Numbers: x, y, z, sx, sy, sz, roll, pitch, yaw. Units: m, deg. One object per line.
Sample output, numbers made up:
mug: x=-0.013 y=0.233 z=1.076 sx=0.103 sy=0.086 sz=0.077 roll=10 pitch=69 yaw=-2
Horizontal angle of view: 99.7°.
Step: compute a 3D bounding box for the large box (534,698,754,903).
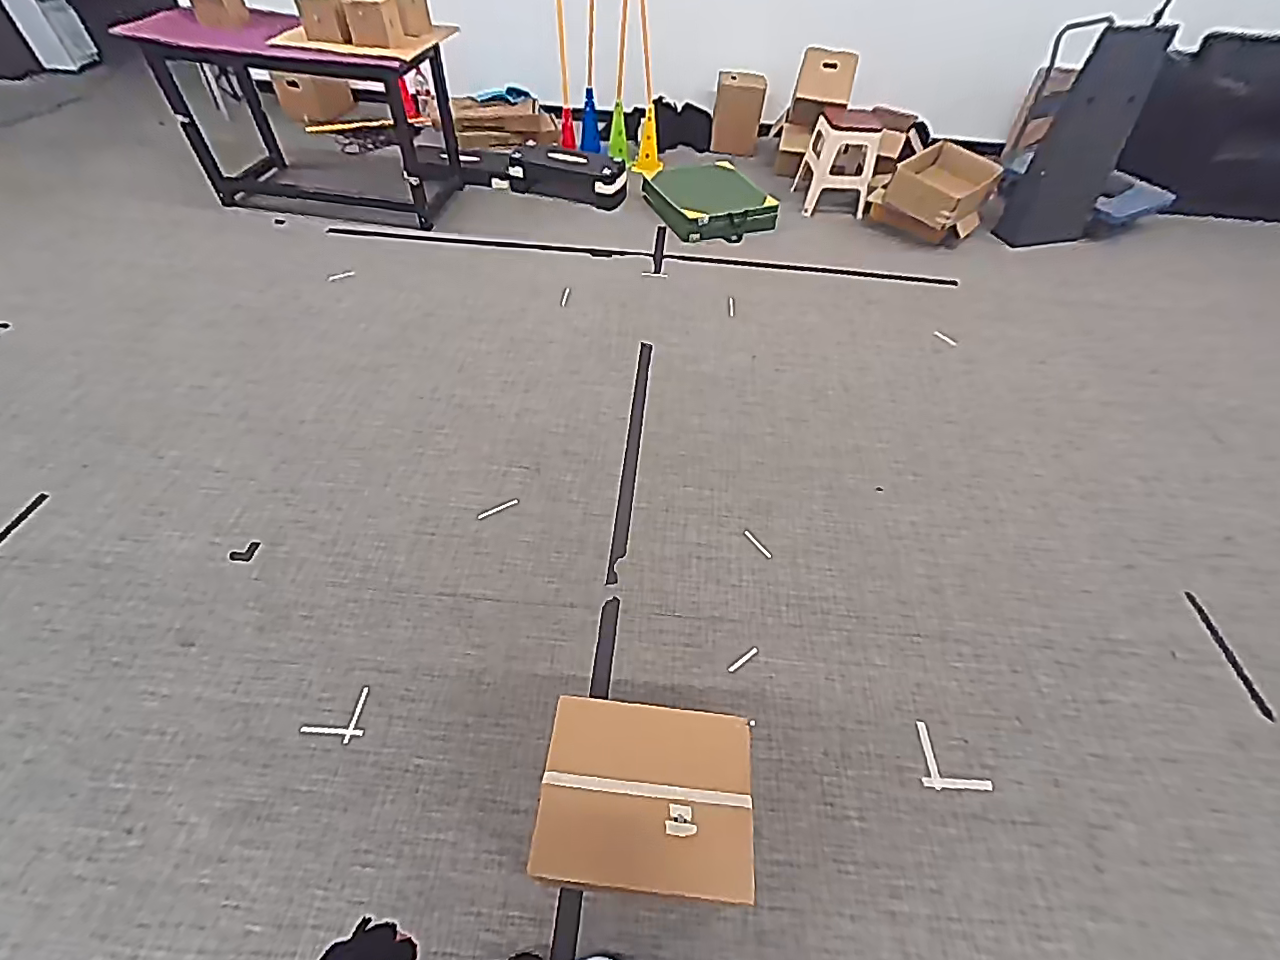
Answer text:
large box: x=0.007 y=0.695 z=1.167 sx=0.408 sy=0.320 sz=0.320 roll=7 pitch=52 yaw=1
